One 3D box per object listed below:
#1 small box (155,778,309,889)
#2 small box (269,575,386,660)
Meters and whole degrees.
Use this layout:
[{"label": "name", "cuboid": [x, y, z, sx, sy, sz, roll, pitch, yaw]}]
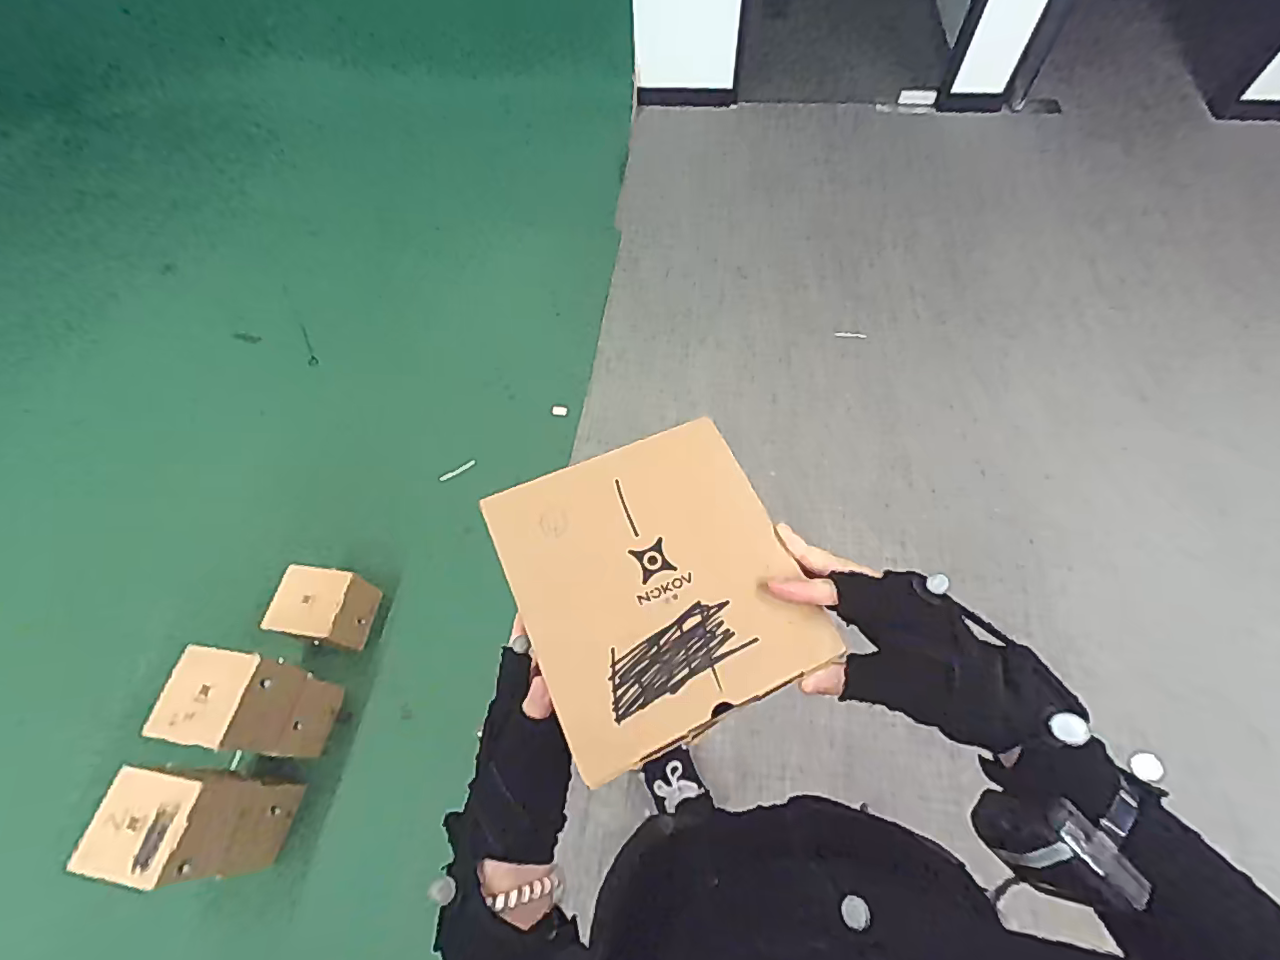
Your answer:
[{"label": "small box", "cuboid": [-0.878, 0.764, 1.187, 0.179, 0.176, 0.168, 9, 61, 8]}, {"label": "small box", "cuboid": [-0.804, 0.362, 1.410, 0.179, 0.176, 0.168, 6, 61, 6]}]
